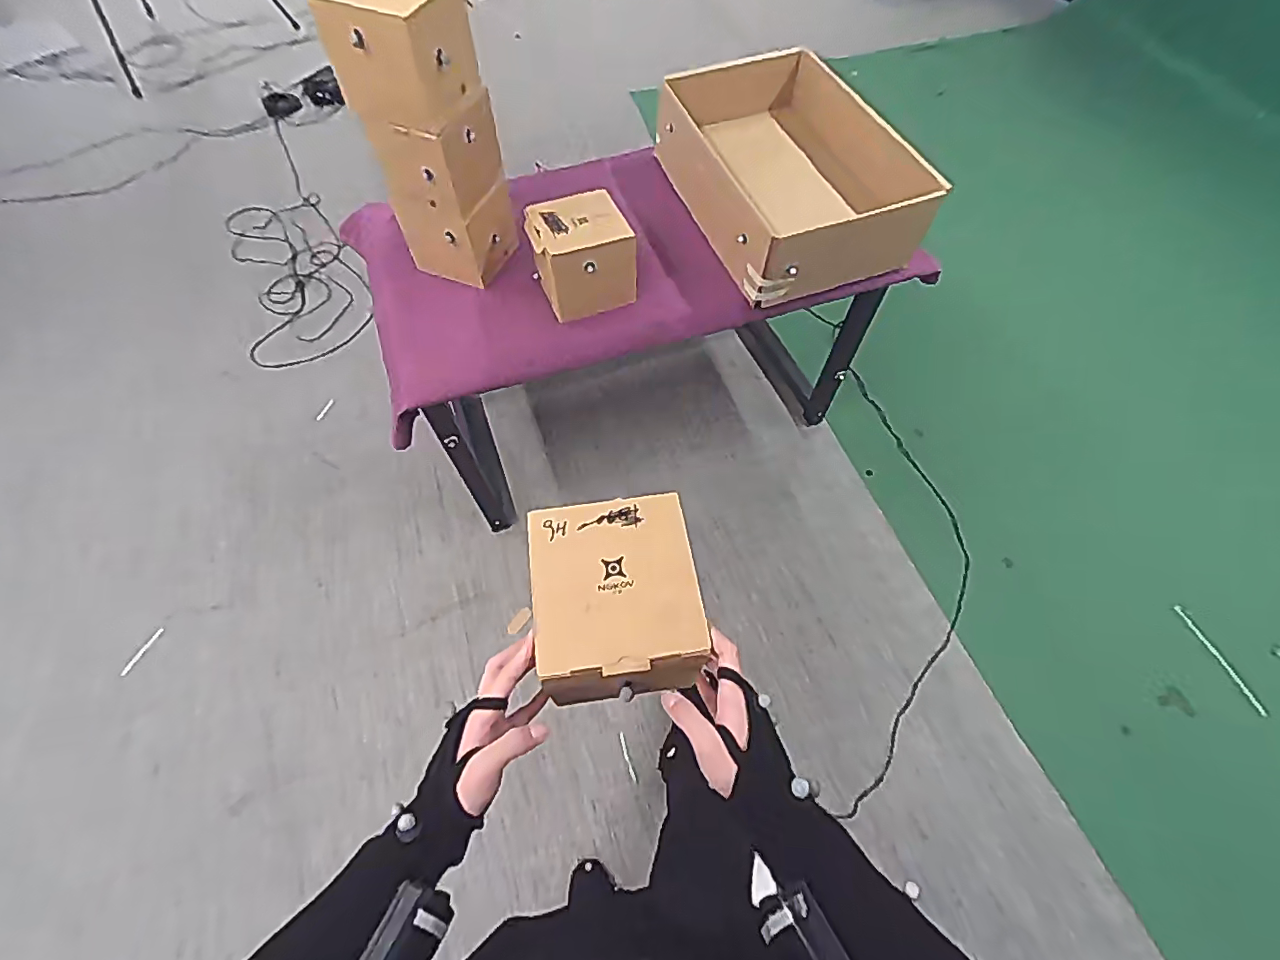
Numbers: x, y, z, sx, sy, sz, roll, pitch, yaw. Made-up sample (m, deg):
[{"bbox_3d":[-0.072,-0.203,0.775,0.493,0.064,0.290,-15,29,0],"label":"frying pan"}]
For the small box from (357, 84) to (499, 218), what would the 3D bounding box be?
[{"bbox_3d":[-0.388,-0.637,1.031,0.168,0.176,0.179,20,63,9],"label":"small box"}]

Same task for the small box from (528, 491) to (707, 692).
[{"bbox_3d":[-0.029,0.134,0.612,0.168,0.176,0.179,-7,61,-6],"label":"small box"}]

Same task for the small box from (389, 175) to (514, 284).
[{"bbox_3d":[-0.394,-0.554,1.171,0.179,0.176,0.168,20,62,10],"label":"small box"}]

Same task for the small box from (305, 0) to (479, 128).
[{"bbox_3d":[-0.390,-0.714,0.889,0.179,0.176,0.168,18,63,8],"label":"small box"}]

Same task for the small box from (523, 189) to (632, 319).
[{"bbox_3d":[-0.123,-0.464,1.123,0.179,0.176,0.168,-20,62,-12],"label":"small box"}]
